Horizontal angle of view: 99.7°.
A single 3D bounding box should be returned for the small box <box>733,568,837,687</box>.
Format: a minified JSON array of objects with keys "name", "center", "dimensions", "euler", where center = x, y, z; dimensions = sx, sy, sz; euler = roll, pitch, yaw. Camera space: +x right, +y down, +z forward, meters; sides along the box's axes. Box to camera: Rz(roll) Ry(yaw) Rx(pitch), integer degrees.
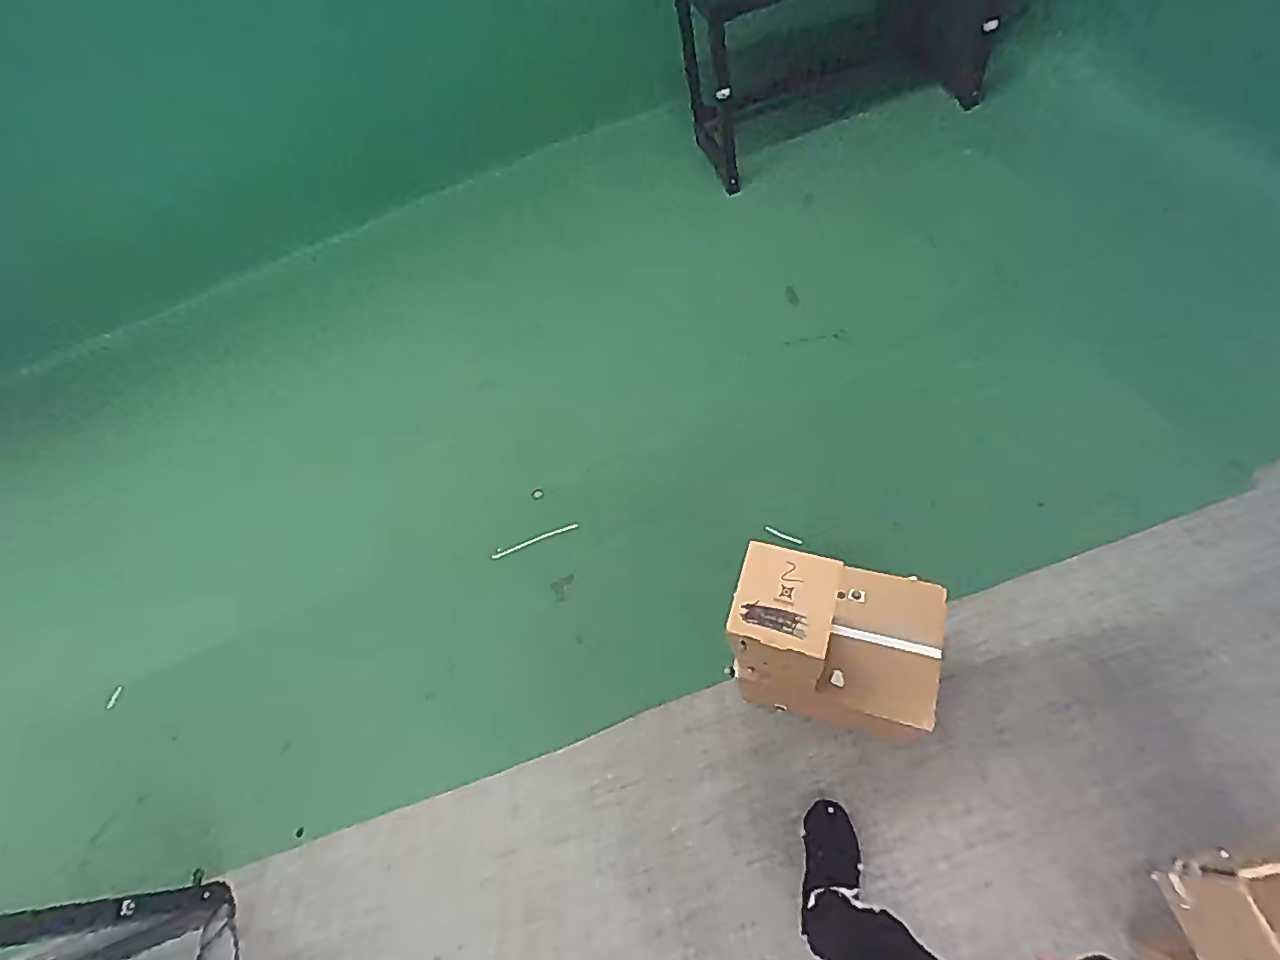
[{"name":"small box","center":[0.303,0.312,1.129],"dimensions":[0.168,0.176,0.179],"euler":[14,64,21]}]
